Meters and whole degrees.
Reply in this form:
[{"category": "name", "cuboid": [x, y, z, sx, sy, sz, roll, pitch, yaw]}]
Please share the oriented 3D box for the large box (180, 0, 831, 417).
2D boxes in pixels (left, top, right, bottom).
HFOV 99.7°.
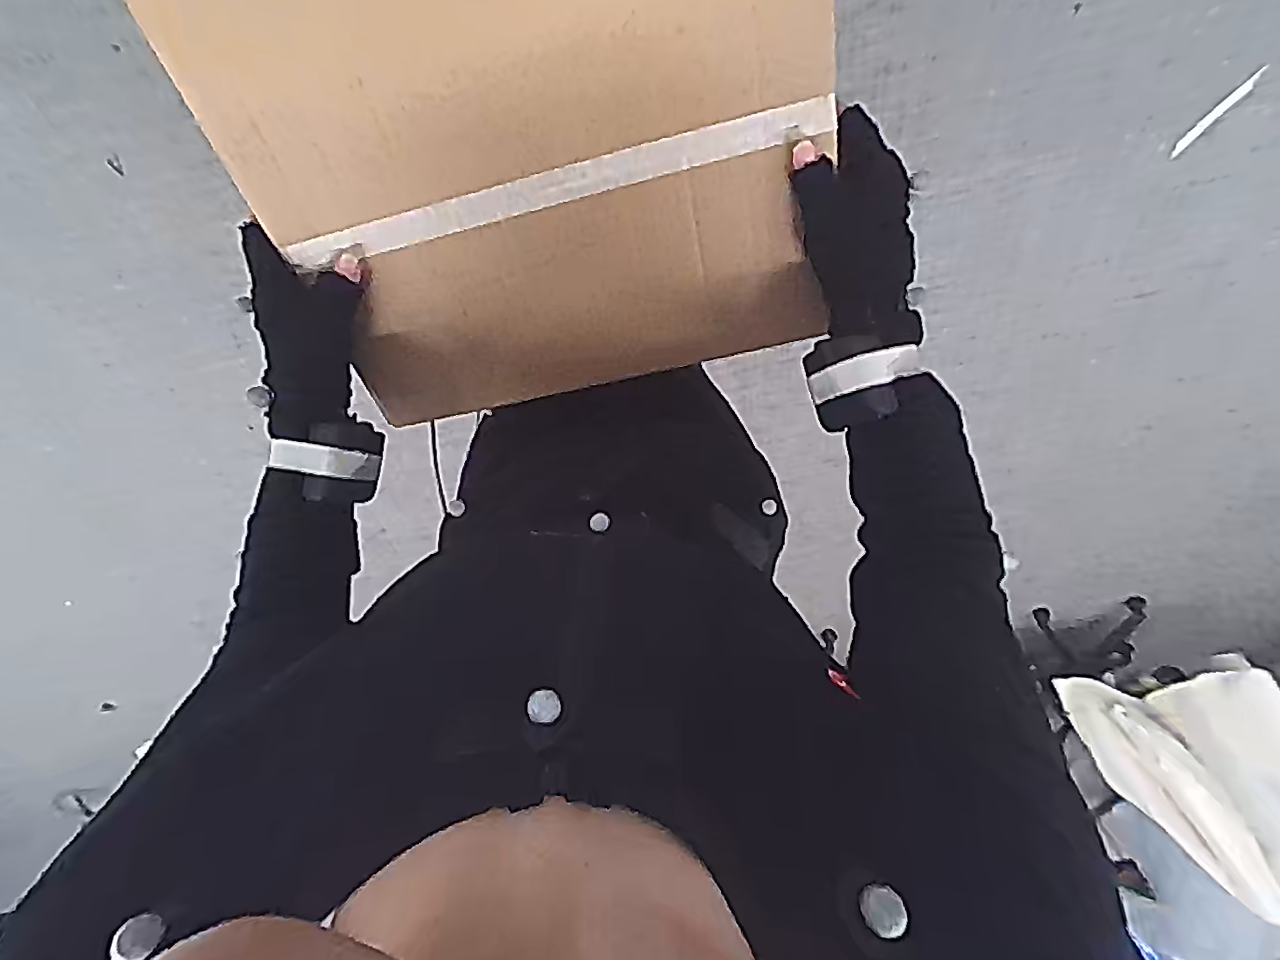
[{"category": "large box", "cuboid": [-0.068, -0.304, 0.516, 0.408, 0.320, 0.320, -11, 128, 8]}]
